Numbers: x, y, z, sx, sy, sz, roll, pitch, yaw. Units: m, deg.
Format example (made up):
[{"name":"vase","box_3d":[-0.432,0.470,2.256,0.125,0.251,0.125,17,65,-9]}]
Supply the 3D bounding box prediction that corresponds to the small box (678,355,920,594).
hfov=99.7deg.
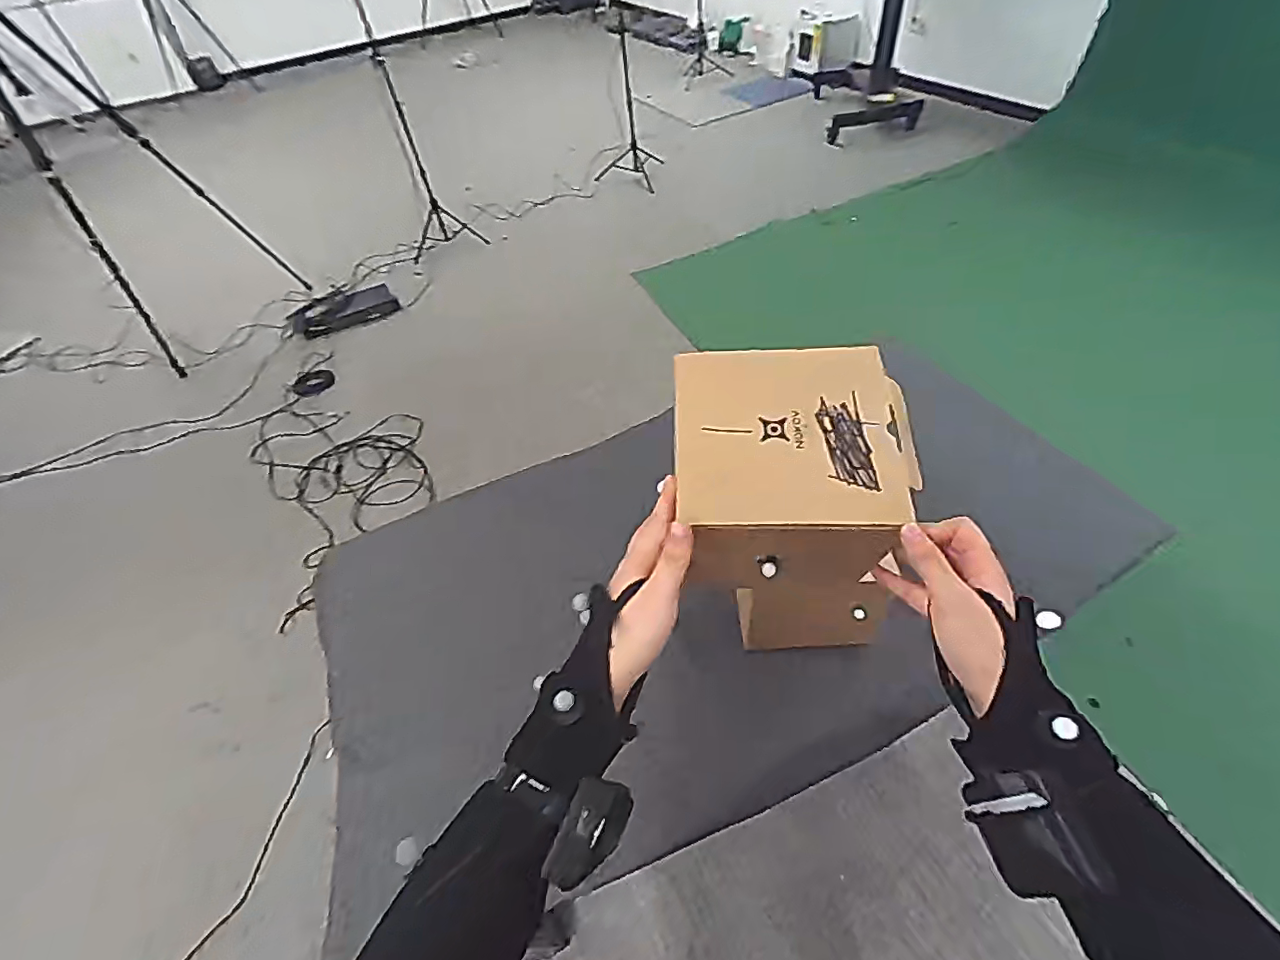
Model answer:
[{"name":"small box","box_3d":[0.126,0.003,0.502,0.179,0.176,0.168,0,63,5]}]
